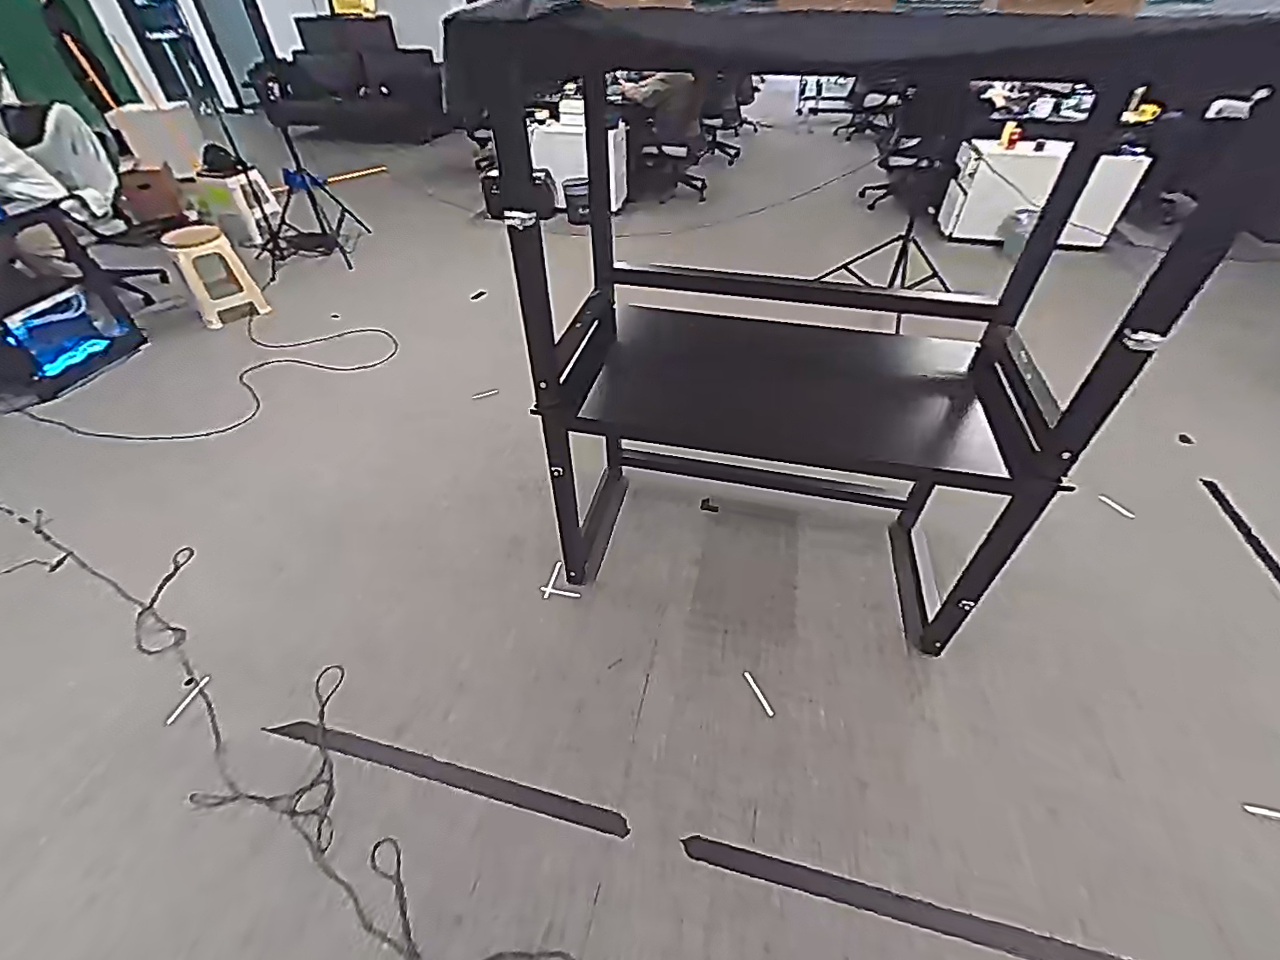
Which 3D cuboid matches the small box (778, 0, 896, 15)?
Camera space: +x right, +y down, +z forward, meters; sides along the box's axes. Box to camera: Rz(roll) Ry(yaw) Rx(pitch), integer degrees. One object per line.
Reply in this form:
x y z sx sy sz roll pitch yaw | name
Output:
0.296 -0.779 0.771 0.168 0.176 0.179 10 42 11 | small box

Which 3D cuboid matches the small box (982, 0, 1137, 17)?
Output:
0.588 -0.733 0.722 0.168 0.176 0.179 12 43 13 | small box
